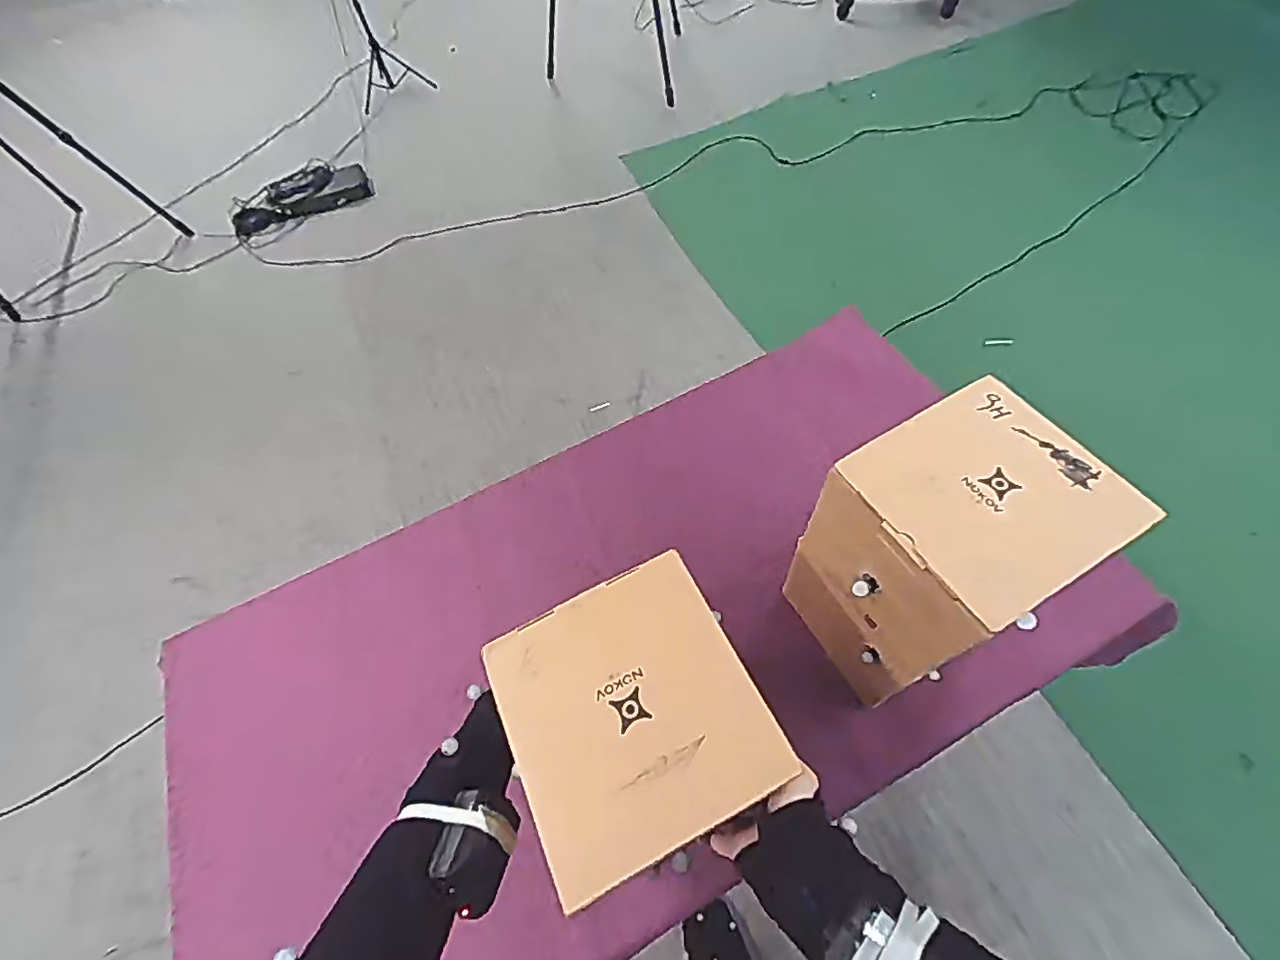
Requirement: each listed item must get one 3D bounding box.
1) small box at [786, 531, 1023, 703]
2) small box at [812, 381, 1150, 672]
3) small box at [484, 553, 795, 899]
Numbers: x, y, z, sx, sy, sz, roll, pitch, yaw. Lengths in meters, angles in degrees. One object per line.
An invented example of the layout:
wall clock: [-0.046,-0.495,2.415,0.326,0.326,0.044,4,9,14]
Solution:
small box: [0.292,0.134,0.635,0.168,0.176,0.179,-28,60,-10]
small box: [0.277,0.050,0.494,0.179,0.176,0.168,-29,60,-10]
small box: [-0.001,0.195,0.438,0.168,0.176,0.179,-26,57,-8]
